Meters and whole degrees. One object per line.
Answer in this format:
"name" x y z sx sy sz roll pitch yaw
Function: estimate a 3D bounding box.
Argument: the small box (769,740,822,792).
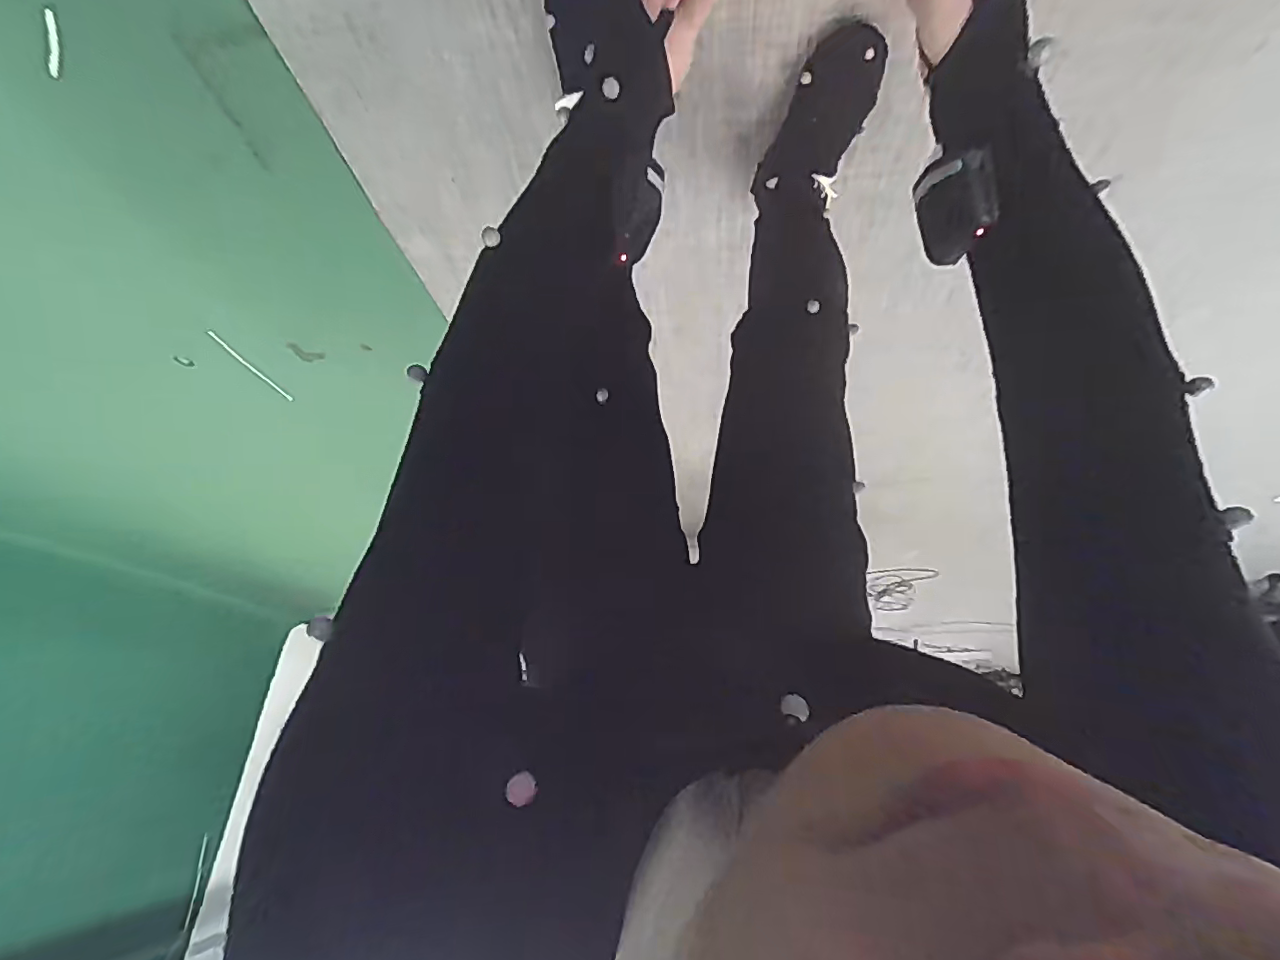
"small box" 0.587 1.084 2.062 0.179 0.176 0.168 -1 154 8
